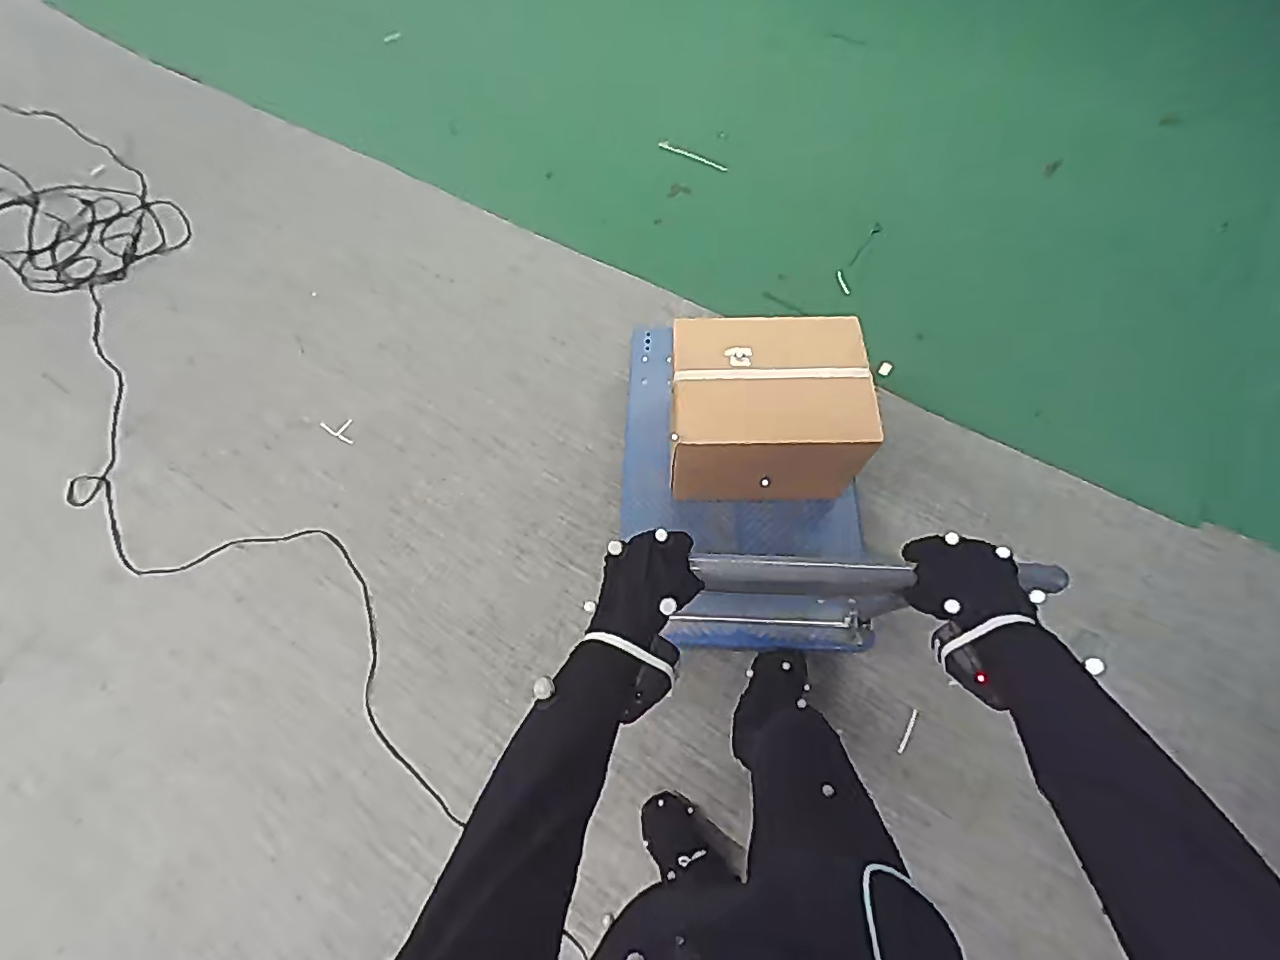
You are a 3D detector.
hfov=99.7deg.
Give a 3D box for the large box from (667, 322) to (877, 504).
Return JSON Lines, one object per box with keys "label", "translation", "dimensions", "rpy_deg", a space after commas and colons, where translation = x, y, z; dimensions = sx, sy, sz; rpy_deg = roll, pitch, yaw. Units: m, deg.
{"label": "large box", "translation": [0.271, -0.141, 1.260], "dimensions": [0.408, 0.320, 0.320], "rpy_deg": [-1, 65, 1]}
